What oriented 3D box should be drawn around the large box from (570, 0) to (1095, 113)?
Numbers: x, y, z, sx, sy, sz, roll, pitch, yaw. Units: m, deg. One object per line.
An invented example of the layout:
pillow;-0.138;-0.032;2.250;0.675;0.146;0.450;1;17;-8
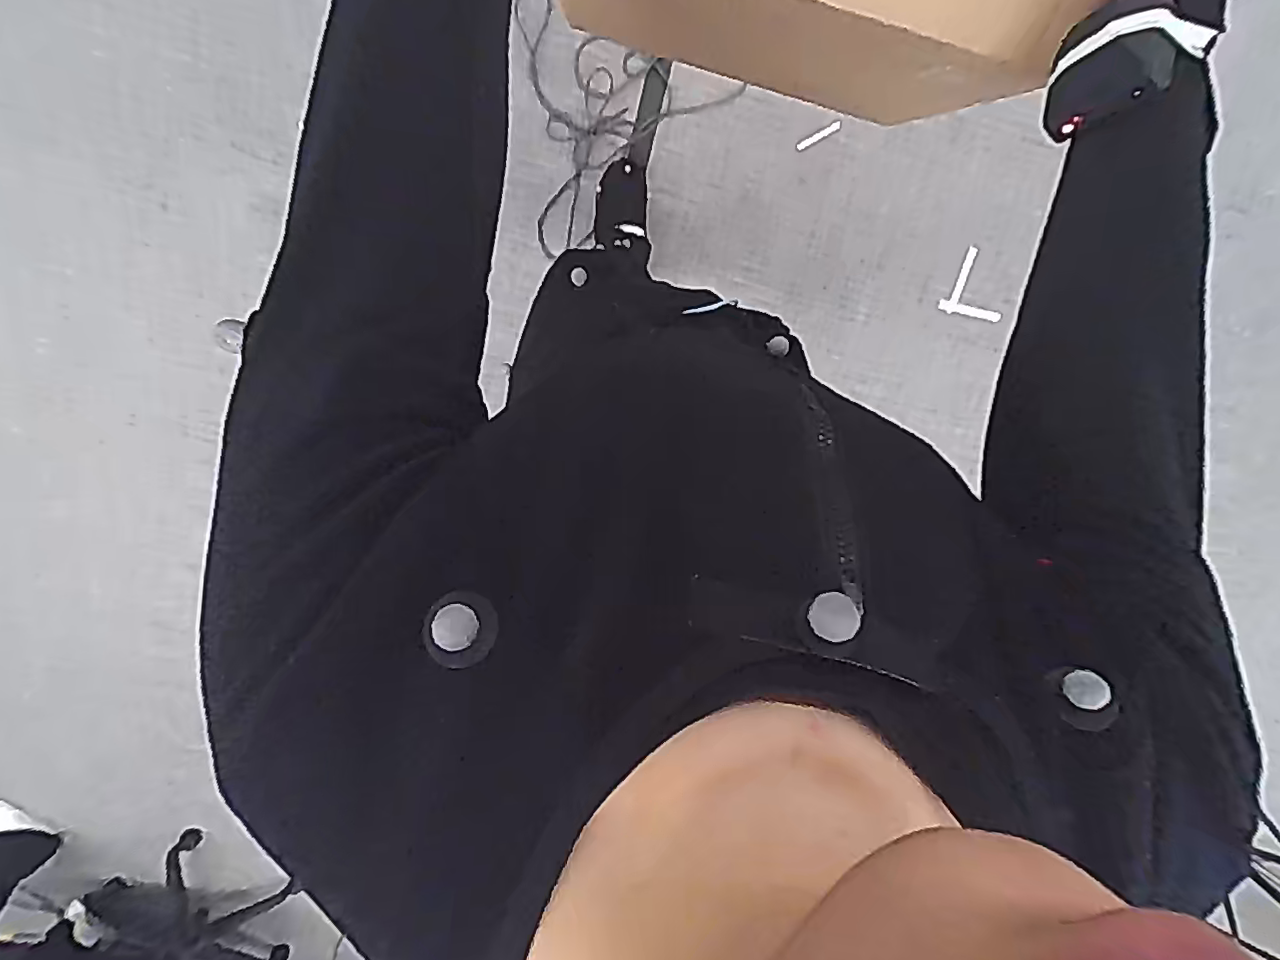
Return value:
large box;0.153;-0.546;0.439;0.408;0.320;0.320;12;118;-8
